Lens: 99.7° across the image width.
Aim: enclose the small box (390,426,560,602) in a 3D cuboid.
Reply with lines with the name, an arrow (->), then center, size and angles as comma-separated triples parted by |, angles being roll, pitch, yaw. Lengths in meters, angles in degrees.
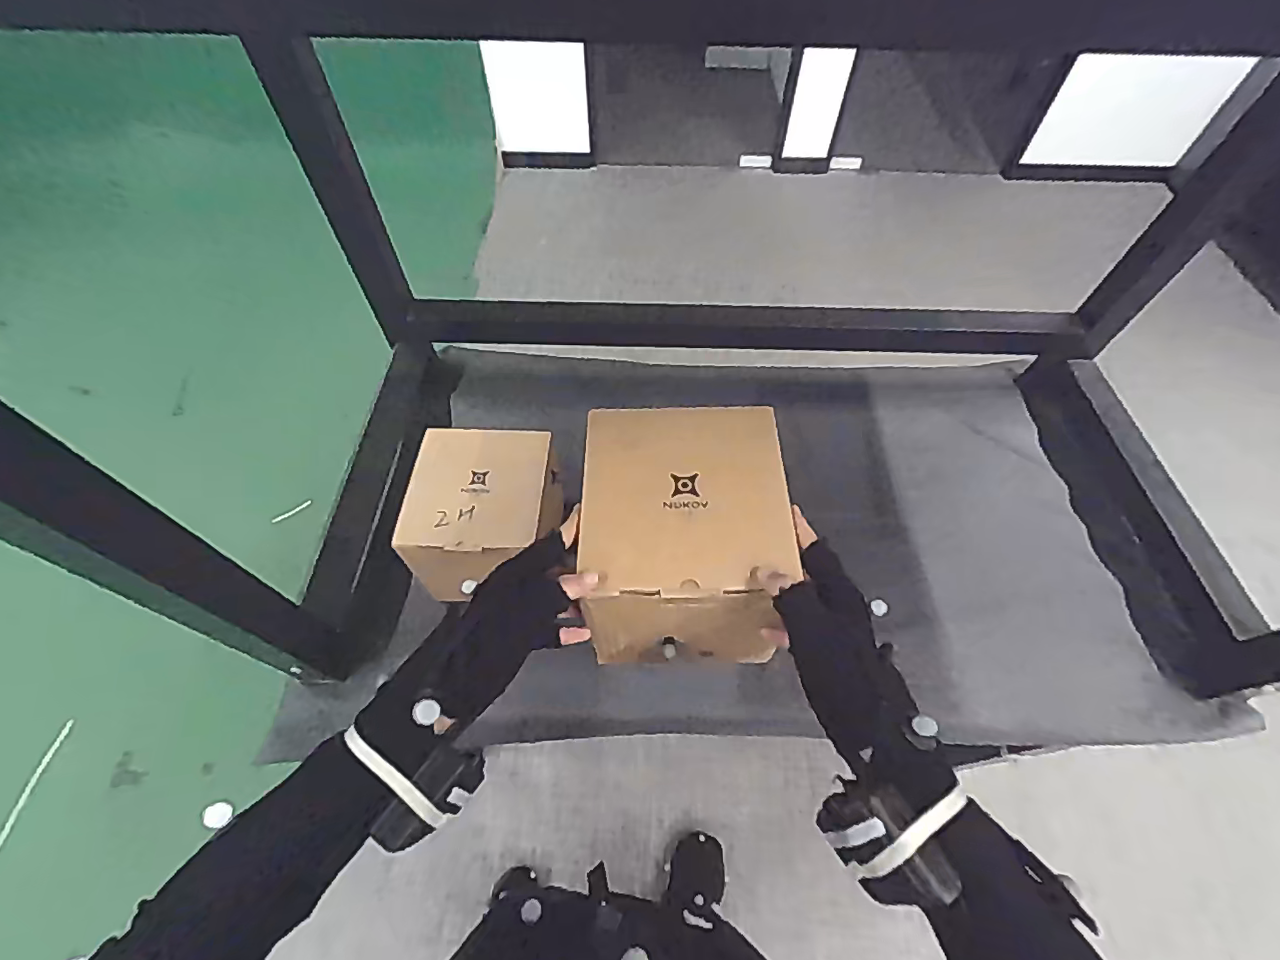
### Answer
small box -> -0.204, 0.048, 0.728 | 0.168, 0.176, 0.179 | 1, 56, 1
